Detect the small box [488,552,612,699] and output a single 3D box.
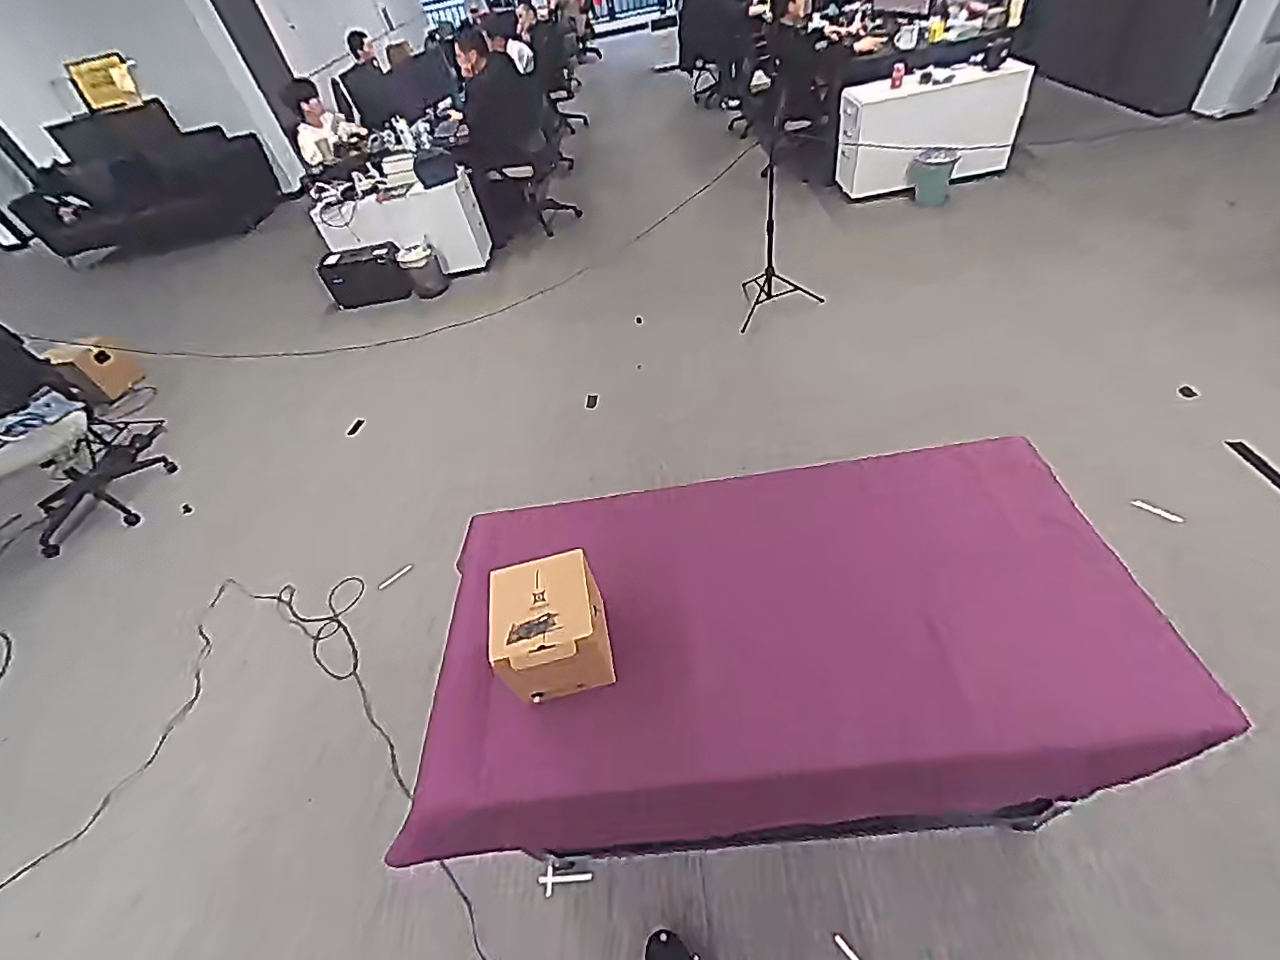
[{"bbox_3d":[-0.152,0.258,0.935,0.168,0.176,0.179,-14,45,-1],"label":"small box"}]
